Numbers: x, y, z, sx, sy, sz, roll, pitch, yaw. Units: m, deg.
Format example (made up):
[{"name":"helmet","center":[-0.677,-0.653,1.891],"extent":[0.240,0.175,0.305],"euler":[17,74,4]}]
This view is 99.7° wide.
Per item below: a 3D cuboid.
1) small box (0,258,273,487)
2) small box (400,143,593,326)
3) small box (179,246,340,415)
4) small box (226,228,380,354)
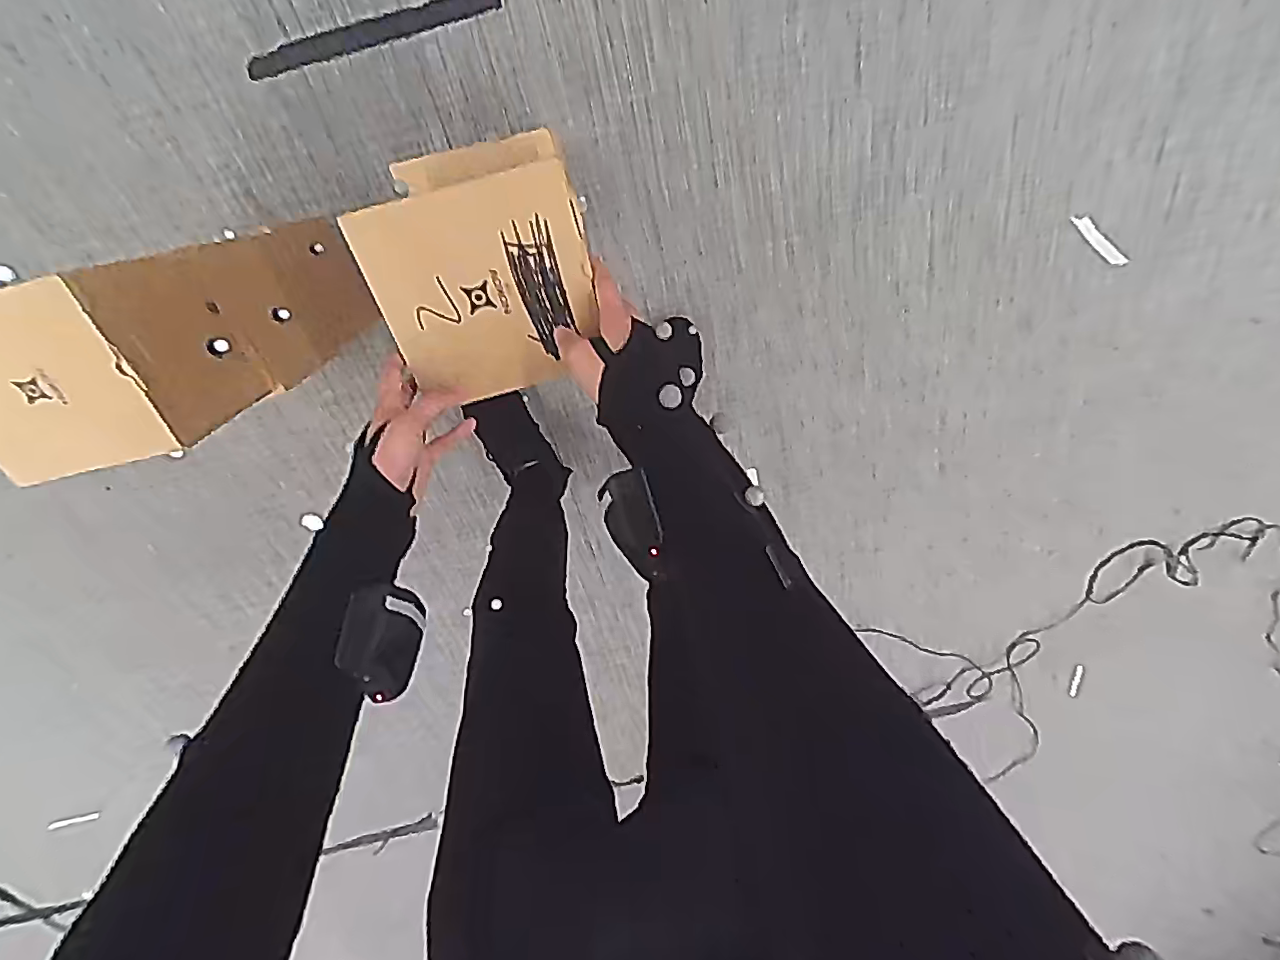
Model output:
[{"name":"small box","center":[-0.535,-0.117,0.554],"extent":[0.179,0.176,0.168],"euler":[-13,120,2]},{"name":"small box","center":[-0.163,-0.307,0.672],"extent":[0.179,0.176,0.168],"euler":[-12,119,0]},{"name":"small box","center":[-0.535,-0.190,0.700],"extent":[0.168,0.176,0.179],"euler":[-17,120,5]},{"name":"small box","center":[-0.543,-0.276,0.839],"extent":[0.168,0.176,0.179],"euler":[-19,120,5]}]
